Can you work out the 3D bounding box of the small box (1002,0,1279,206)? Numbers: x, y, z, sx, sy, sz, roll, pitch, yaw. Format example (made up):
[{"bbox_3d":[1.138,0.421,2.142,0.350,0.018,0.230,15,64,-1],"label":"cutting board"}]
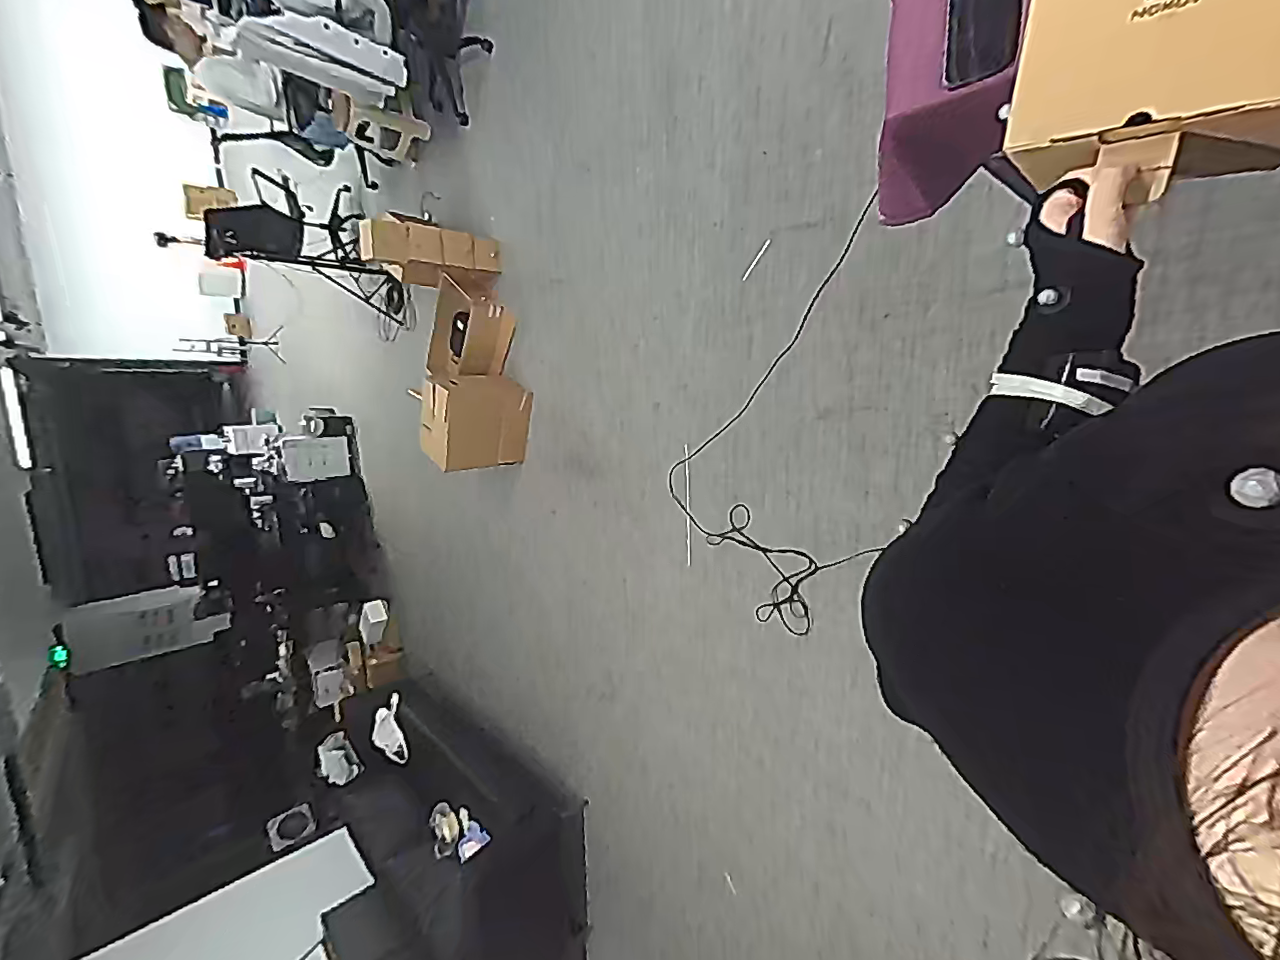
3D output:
[{"bbox_3d":[0.420,-0.342,0.435,0.168,0.176,0.179,16,110,42],"label":"small box"}]
